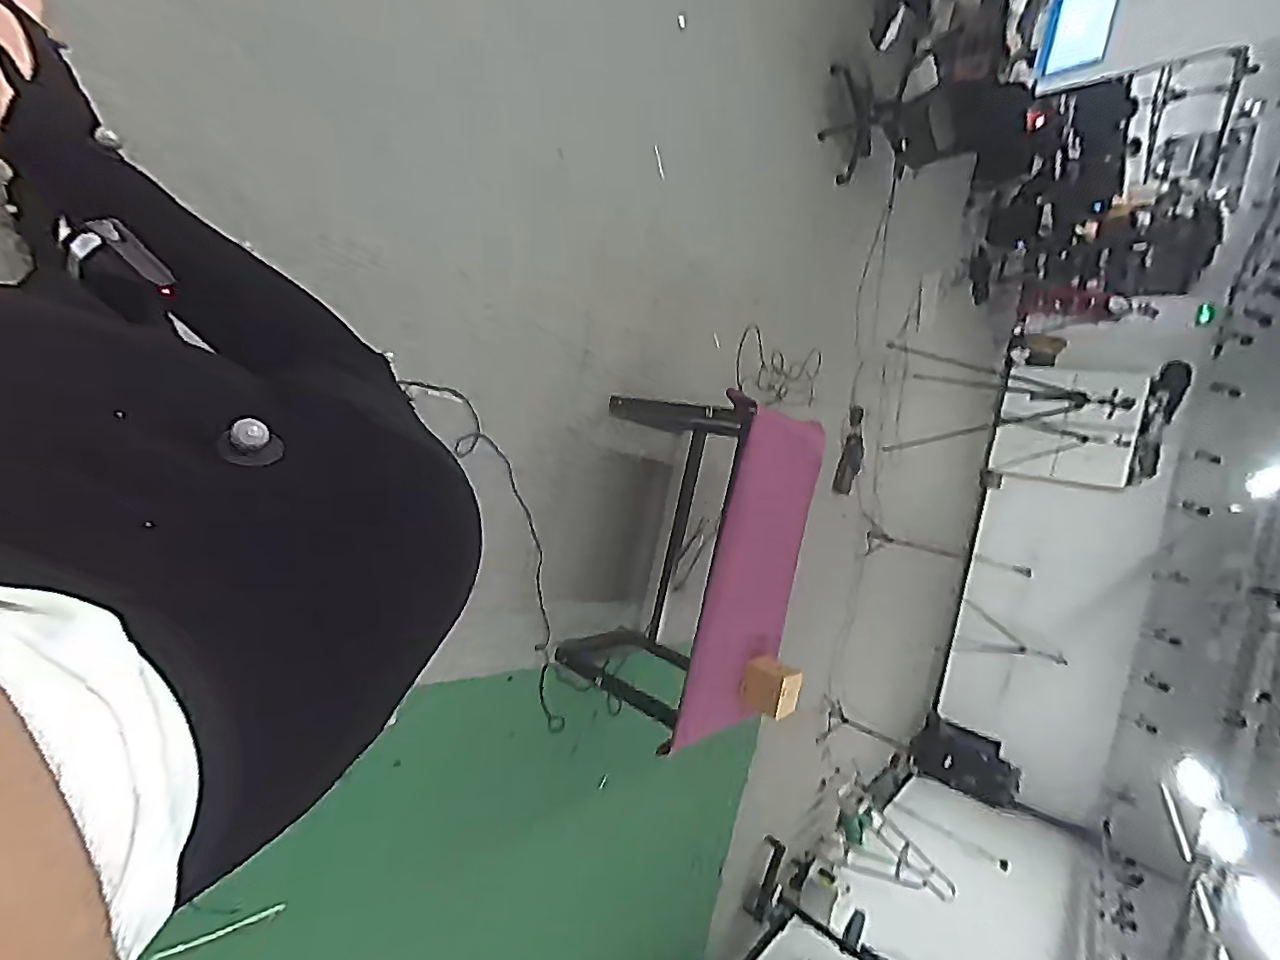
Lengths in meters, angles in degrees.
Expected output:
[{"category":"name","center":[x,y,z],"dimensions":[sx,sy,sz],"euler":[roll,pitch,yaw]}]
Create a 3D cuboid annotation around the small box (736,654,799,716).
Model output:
[{"category":"small box","center":[0.503,0.802,2.134],"dimensions":[0.179,0.176,0.168],"euler":[10,91,-50]}]
